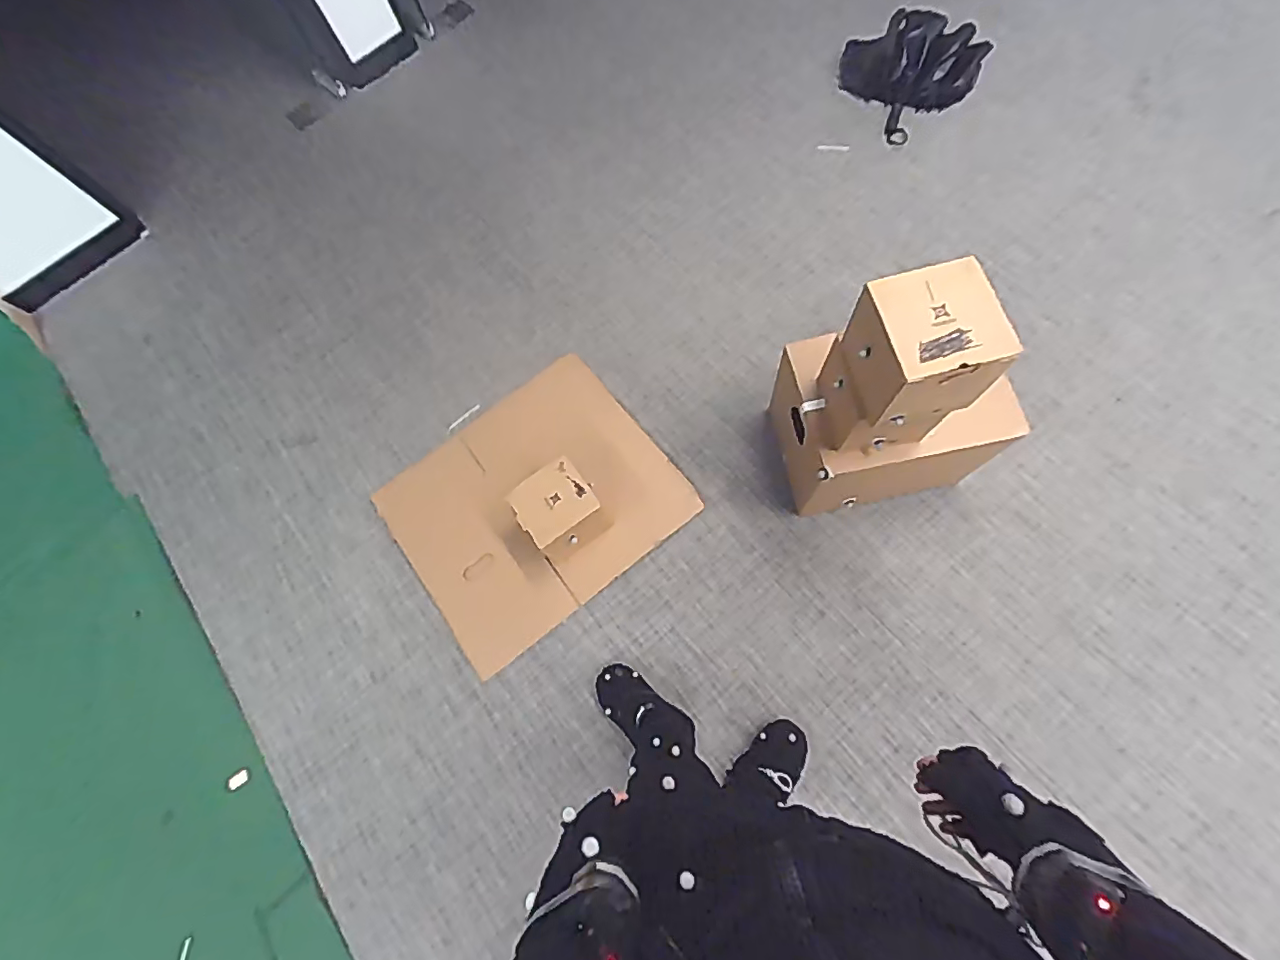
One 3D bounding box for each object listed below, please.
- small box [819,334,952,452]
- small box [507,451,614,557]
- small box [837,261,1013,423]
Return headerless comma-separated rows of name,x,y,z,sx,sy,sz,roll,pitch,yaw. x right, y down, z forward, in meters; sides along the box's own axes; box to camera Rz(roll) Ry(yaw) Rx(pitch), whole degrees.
small box,0.450,-0.170,1.022,0.168,0.176,0.179,-9,73,4
small box,-0.188,0.067,1.332,0.179,0.176,0.168,-39,69,-5
small box,0.437,-0.206,0.862,0.168,0.176,0.179,-16,73,2
